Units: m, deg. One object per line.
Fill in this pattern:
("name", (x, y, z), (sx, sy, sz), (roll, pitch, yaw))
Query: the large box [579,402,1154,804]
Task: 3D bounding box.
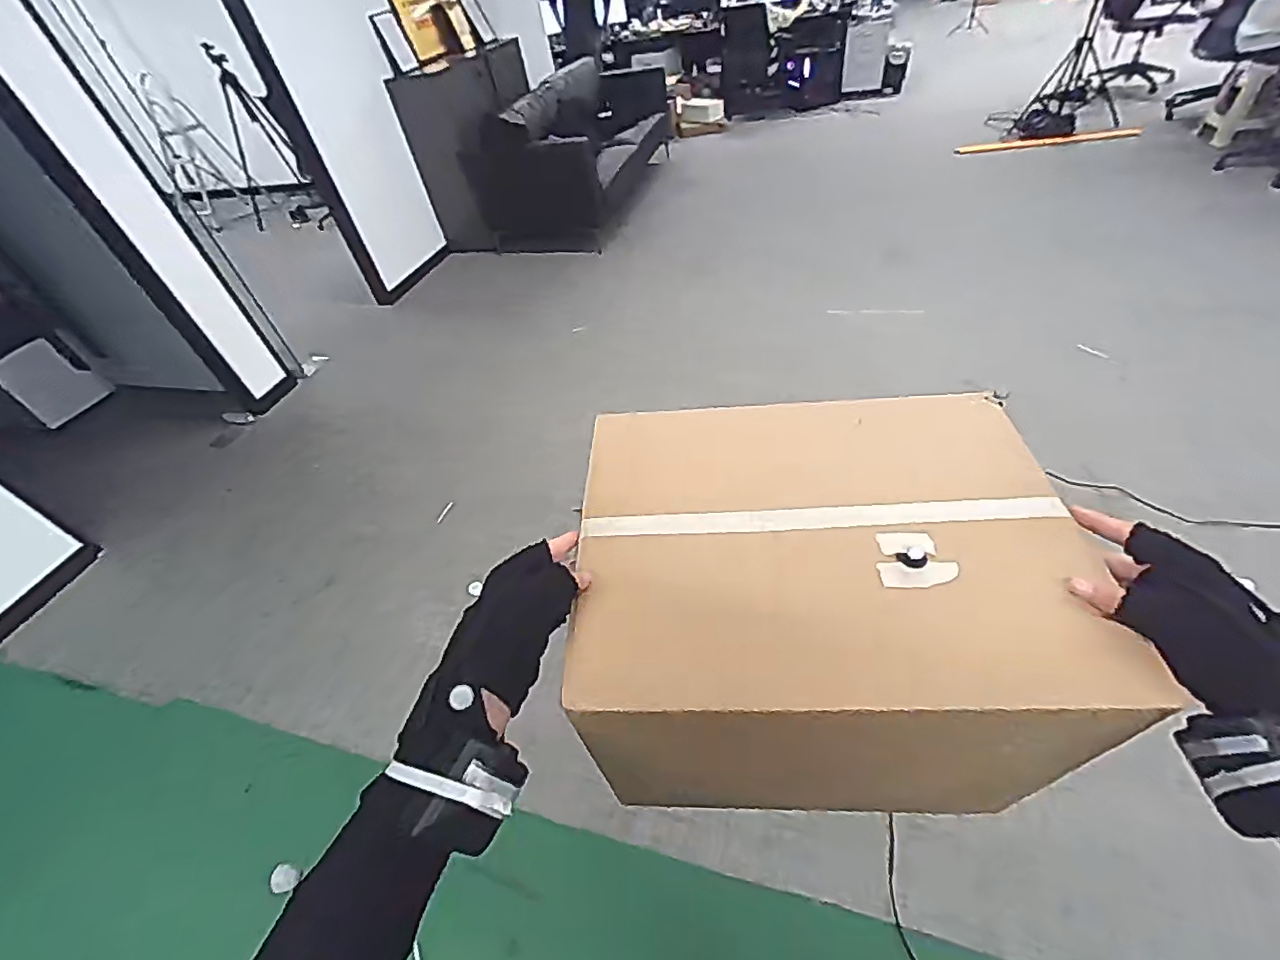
("large box", (0.165, 0.140, 0.585), (0.408, 0.320, 0.320), (-2, 48, 5))
